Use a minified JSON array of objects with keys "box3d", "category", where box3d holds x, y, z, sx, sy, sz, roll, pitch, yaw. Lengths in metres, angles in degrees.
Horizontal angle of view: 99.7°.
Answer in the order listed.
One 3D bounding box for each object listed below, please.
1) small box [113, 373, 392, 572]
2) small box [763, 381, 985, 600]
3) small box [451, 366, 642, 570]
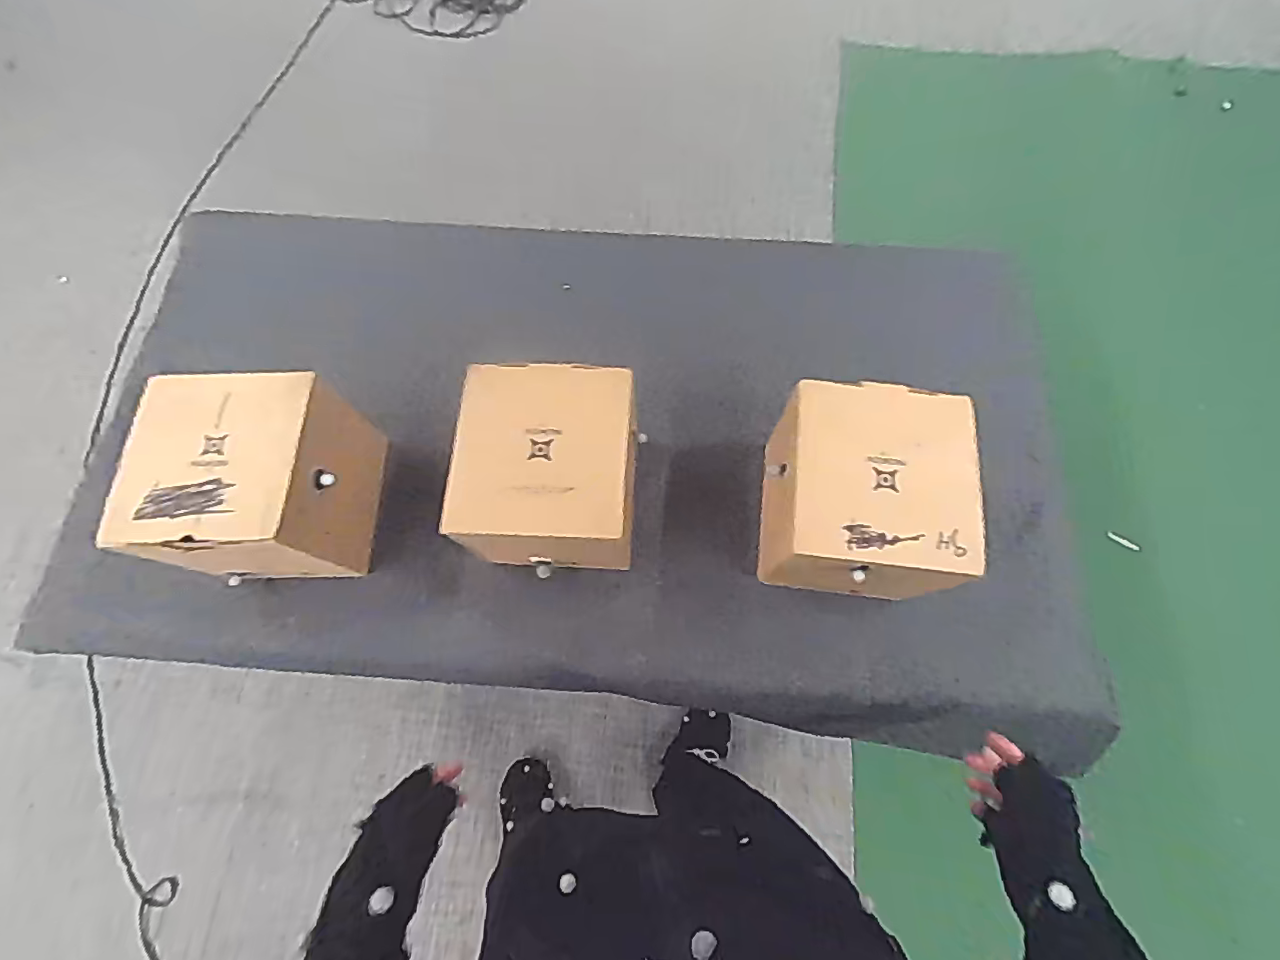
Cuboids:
[{"box3d":[-0.396,0.002,0.592,0.168,0.176,0.179,-1,69,1],"category":"small box"},{"box3d":[0.229,0.020,0.573,0.168,0.176,0.179,7,70,4],"category":"small box"},{"box3d":[-0.085,-0.005,0.592,0.168,0.176,0.179,1,72,3],"category":"small box"}]
